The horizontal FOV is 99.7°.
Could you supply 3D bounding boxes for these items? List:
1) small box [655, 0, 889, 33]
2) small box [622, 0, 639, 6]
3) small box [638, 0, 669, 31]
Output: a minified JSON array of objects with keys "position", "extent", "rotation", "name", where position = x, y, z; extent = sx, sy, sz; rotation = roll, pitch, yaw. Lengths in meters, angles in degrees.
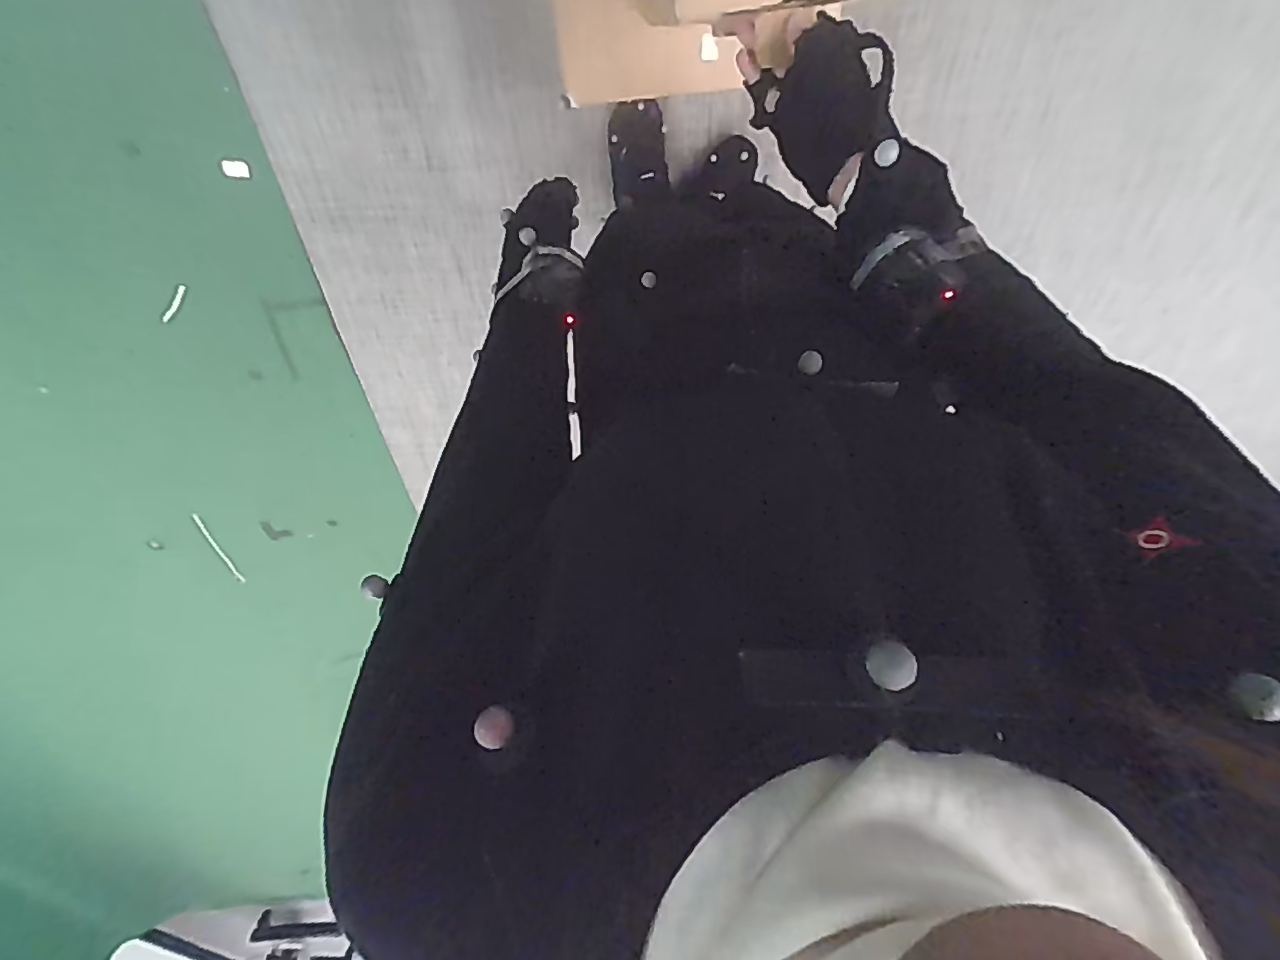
[{"position":[0.089,-0.447,0.387],"extent":[0.168,0.176,0.179],"rotation":[-8,131,1],"name":"small box"},{"position":[0.066,-0.663,0.633],"extent":[0.179,0.176,0.168],"rotation":[-1,133,-5],"name":"small box"},{"position":[0.076,-0.557,0.516],"extent":[0.168,0.176,0.179],"rotation":[-7,133,0],"name":"small box"}]
